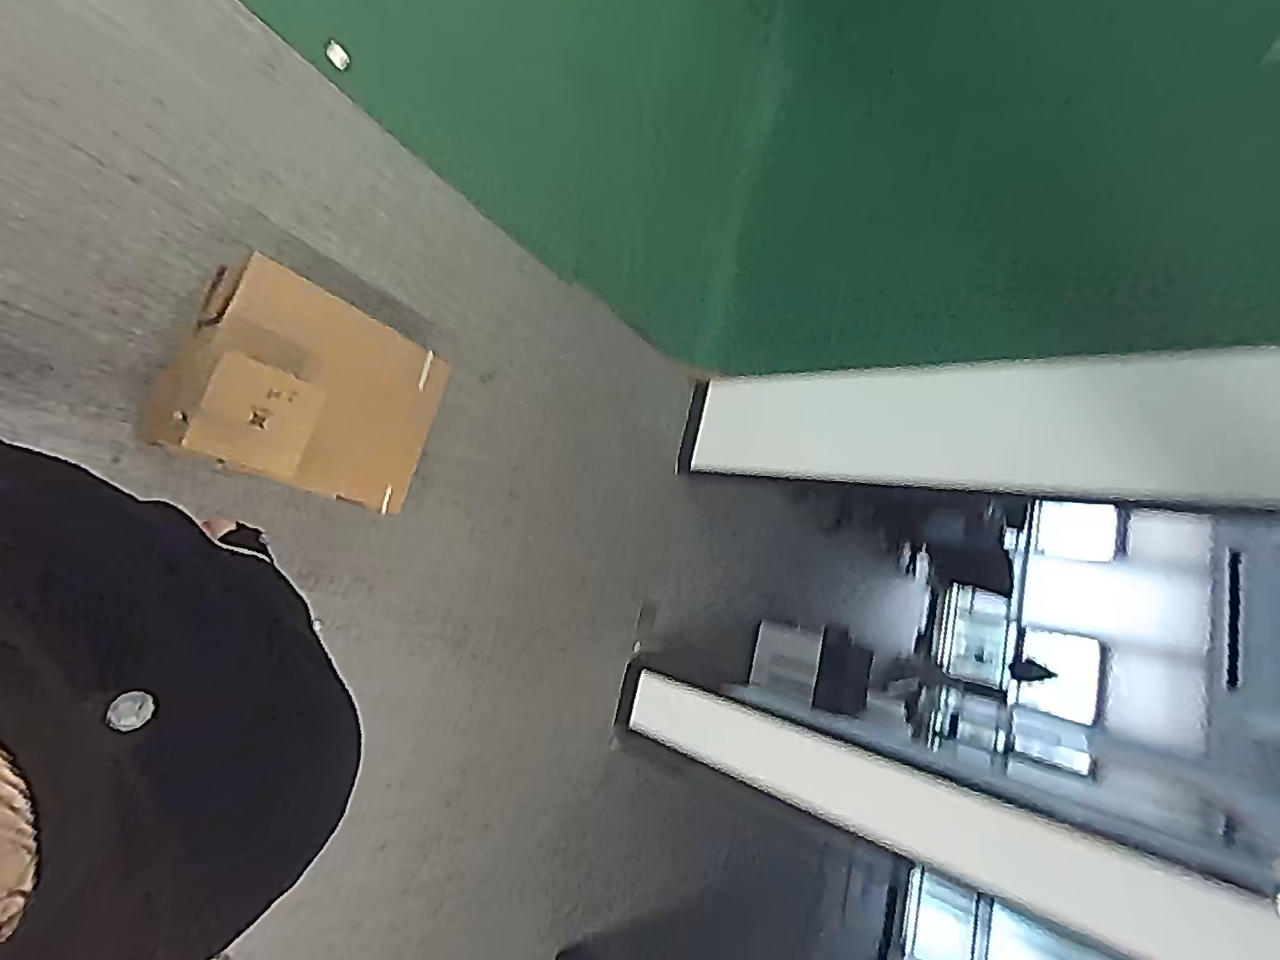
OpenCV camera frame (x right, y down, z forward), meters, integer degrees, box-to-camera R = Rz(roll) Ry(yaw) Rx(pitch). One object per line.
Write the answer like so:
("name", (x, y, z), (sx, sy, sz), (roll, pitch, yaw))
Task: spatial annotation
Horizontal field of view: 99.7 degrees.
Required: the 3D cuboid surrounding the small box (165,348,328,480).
("small box", (-0.700, -0.113, 0.960), (0.168, 0.176, 0.179), (30, 71, -49))
